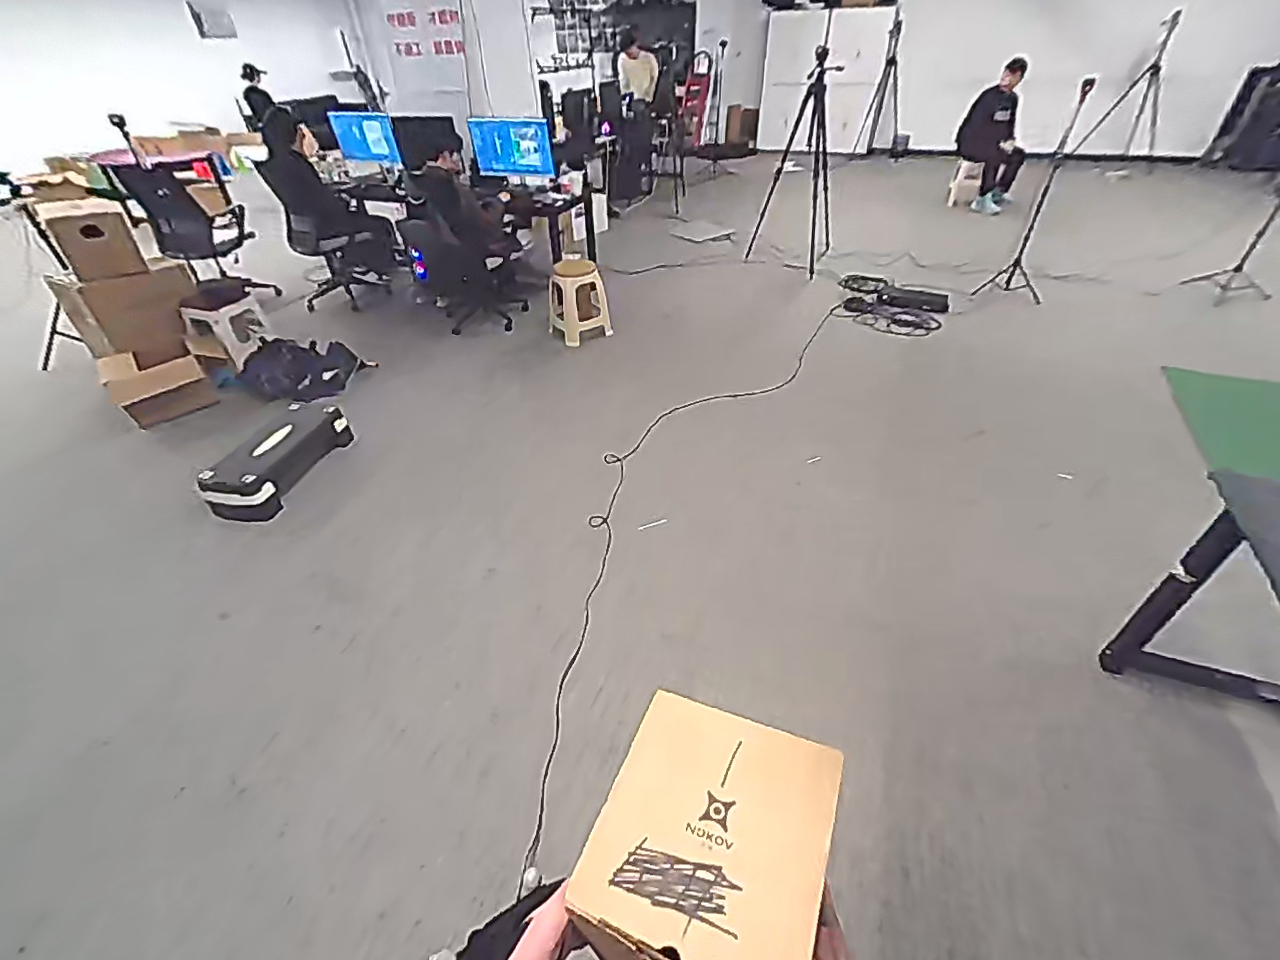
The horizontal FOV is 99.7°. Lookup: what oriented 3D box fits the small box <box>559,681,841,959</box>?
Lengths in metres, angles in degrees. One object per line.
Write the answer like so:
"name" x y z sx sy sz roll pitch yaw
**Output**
"small box" 0.062 0.310 0.448 0.168 0.176 0.179 10 41 24
